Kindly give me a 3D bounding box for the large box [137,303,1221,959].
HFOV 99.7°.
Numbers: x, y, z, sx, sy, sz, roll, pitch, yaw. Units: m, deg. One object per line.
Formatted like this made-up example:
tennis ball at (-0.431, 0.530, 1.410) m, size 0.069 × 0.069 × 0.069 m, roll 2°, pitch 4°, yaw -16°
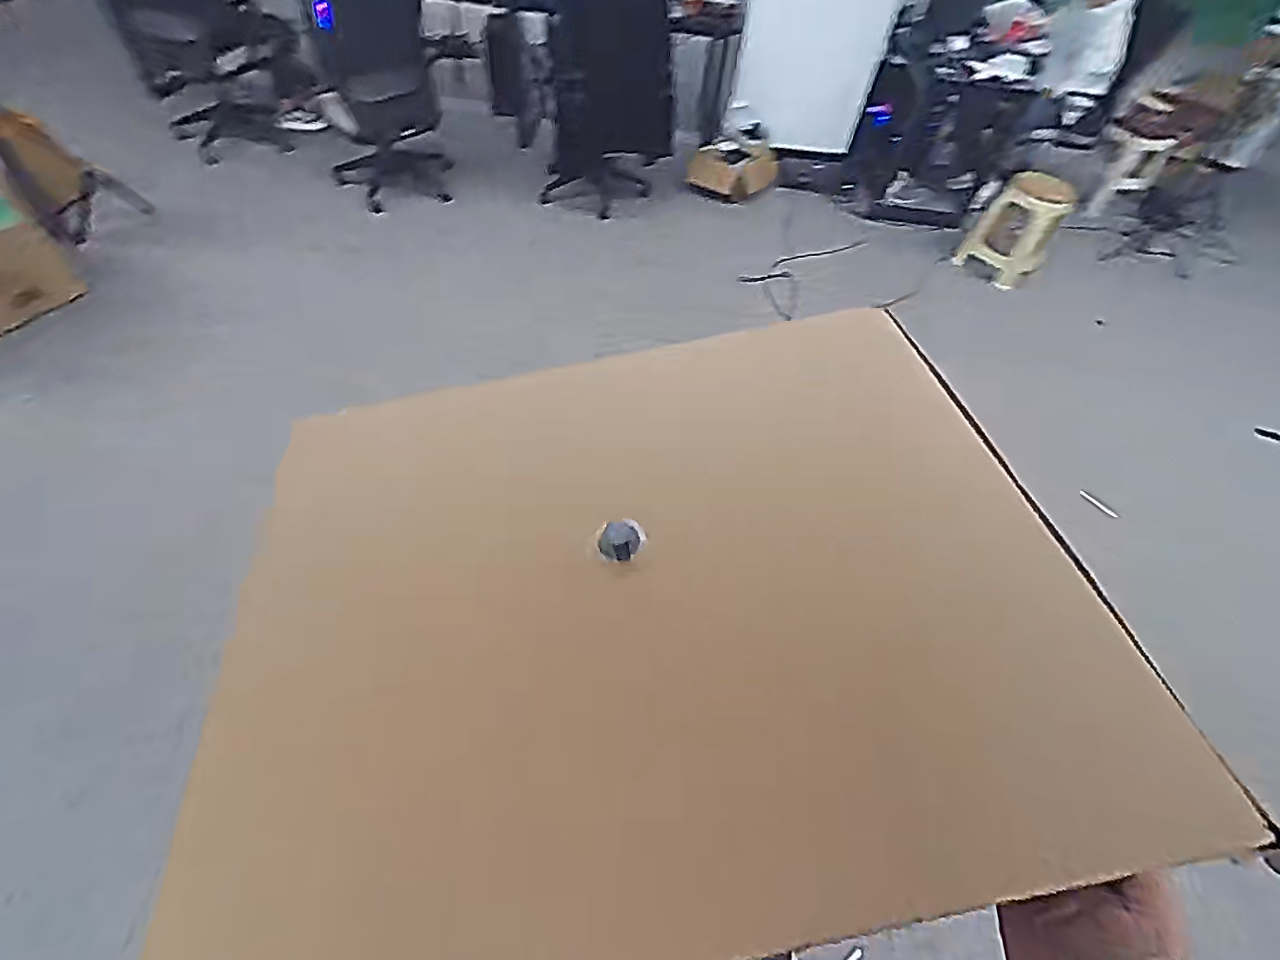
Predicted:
large box at (-0.002, 0.126, 0.392) m, size 0.408 × 0.320 × 0.320 m, roll -13°, pitch 55°, yaw 0°
